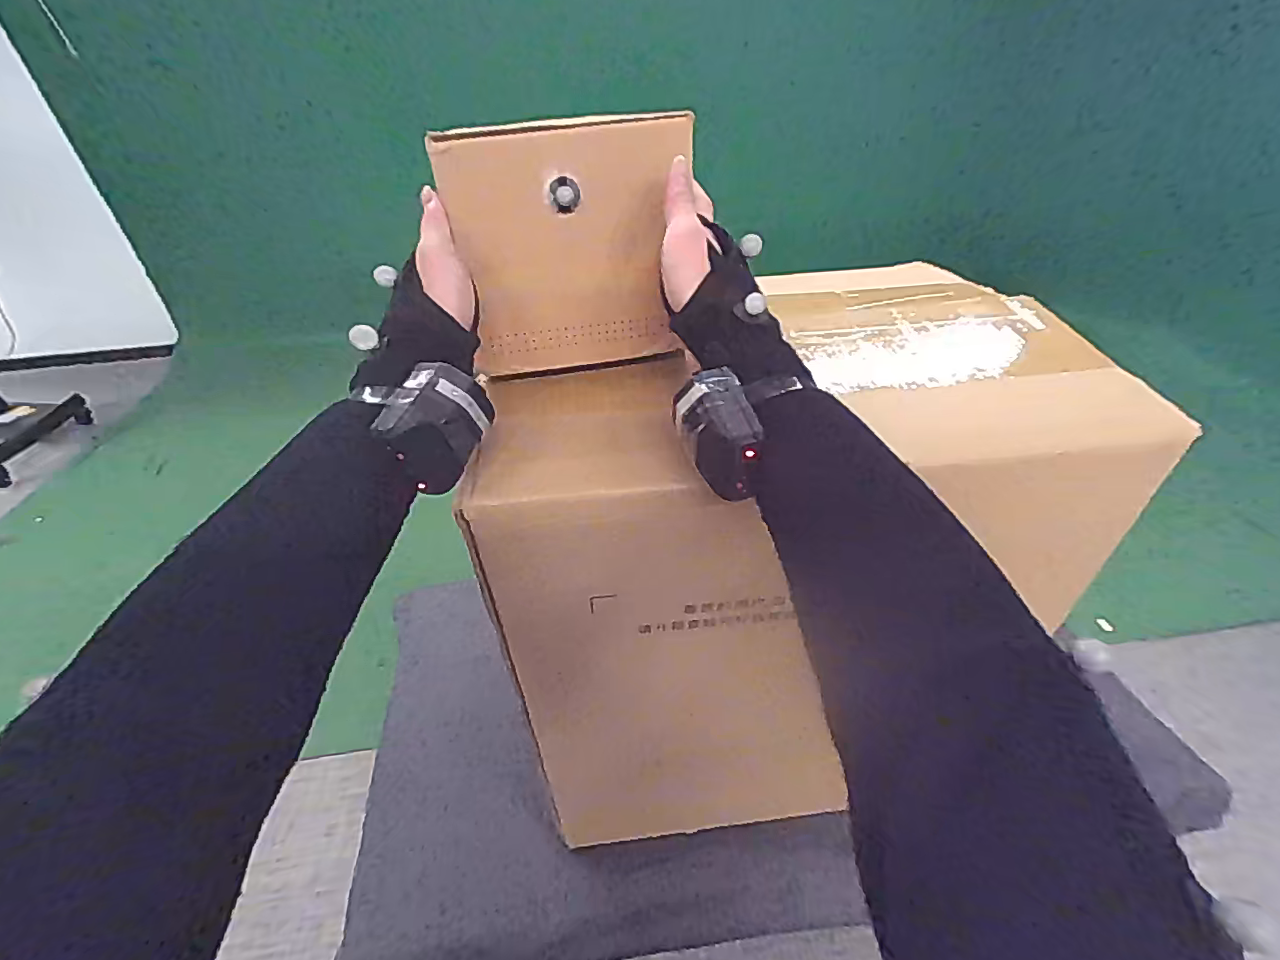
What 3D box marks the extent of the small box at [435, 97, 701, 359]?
[{"bbox_3d":[-0.054,-0.209,0.452,0.179,0.176,0.168,-8,34,-9],"label":"small box"}]
